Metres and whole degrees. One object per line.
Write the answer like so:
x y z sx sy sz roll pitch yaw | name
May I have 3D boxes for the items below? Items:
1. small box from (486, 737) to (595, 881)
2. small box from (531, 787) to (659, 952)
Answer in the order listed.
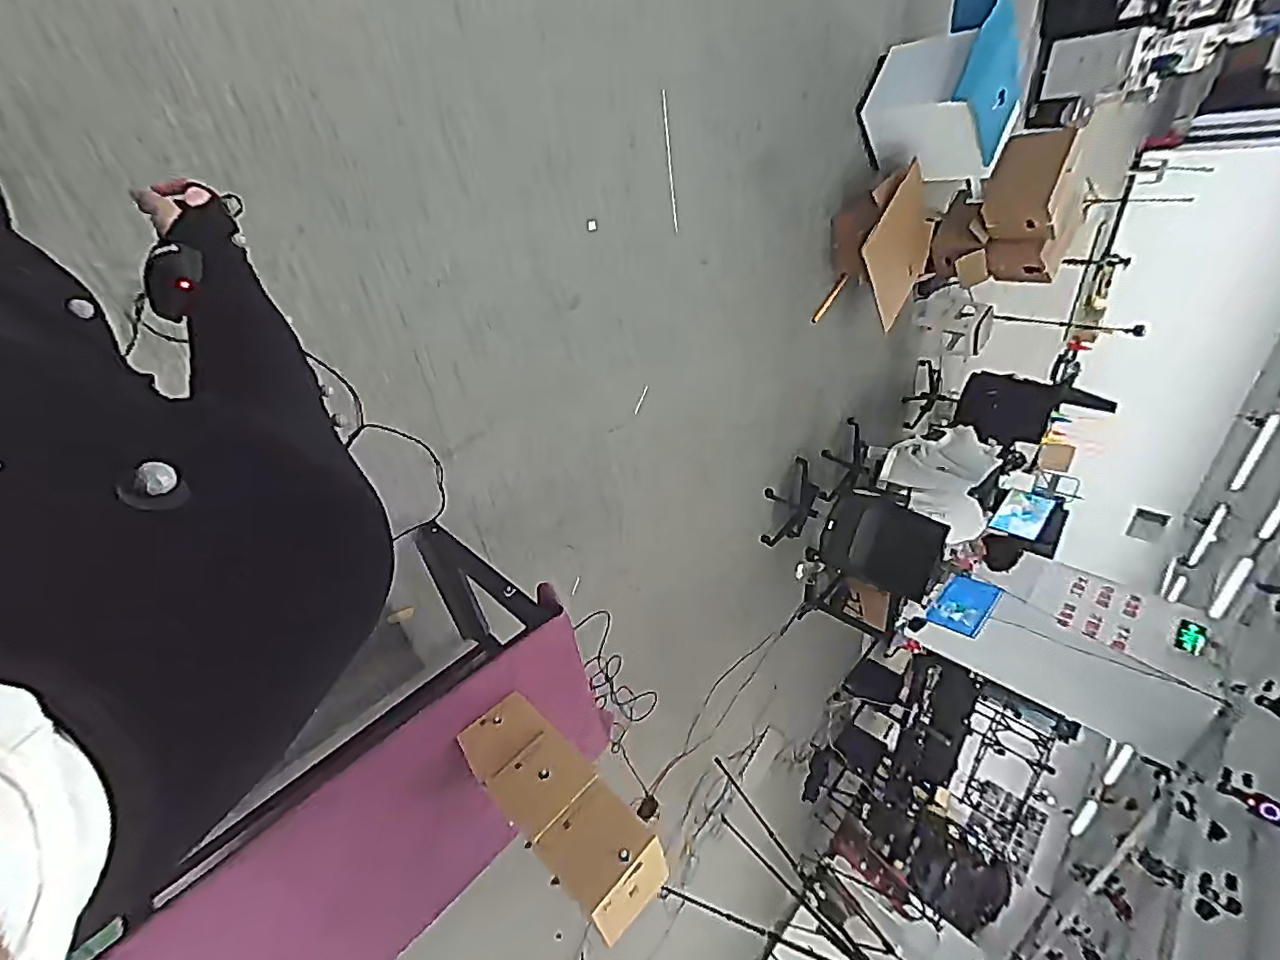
-0.202 0.685 1.150 0.168 0.176 0.179 -33 130 -32 | small box
-0.085 0.743 1.049 0.168 0.176 0.179 -35 131 -32 | small box
